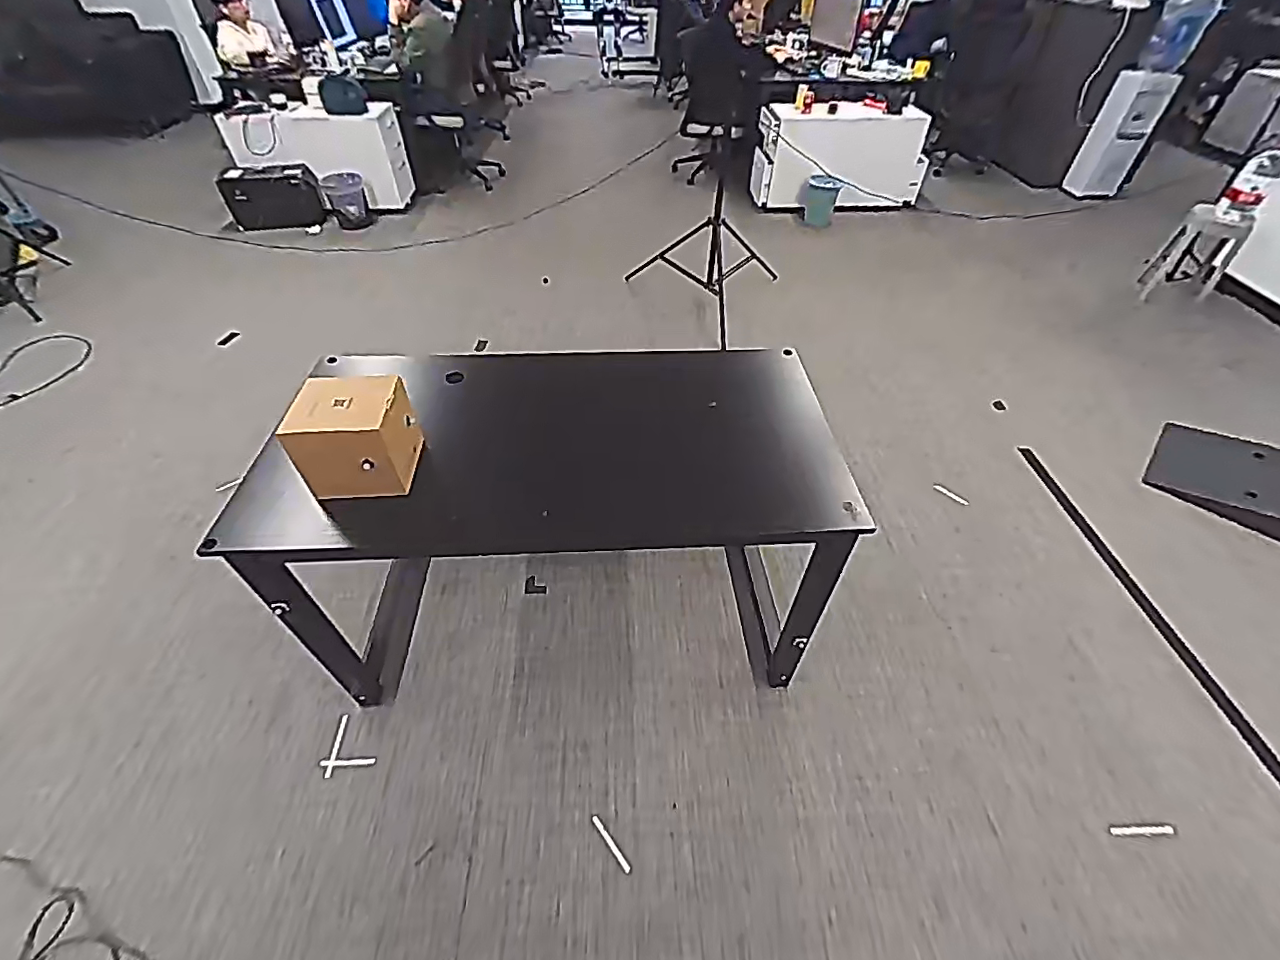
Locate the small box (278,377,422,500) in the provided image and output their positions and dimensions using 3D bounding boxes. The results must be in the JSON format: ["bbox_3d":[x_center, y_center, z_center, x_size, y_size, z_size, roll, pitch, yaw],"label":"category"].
[{"bbox_3d":[-0.536,-0.078,1.034,0.179,0.176,0.168,-4,45,-4],"label":"small box"}]
